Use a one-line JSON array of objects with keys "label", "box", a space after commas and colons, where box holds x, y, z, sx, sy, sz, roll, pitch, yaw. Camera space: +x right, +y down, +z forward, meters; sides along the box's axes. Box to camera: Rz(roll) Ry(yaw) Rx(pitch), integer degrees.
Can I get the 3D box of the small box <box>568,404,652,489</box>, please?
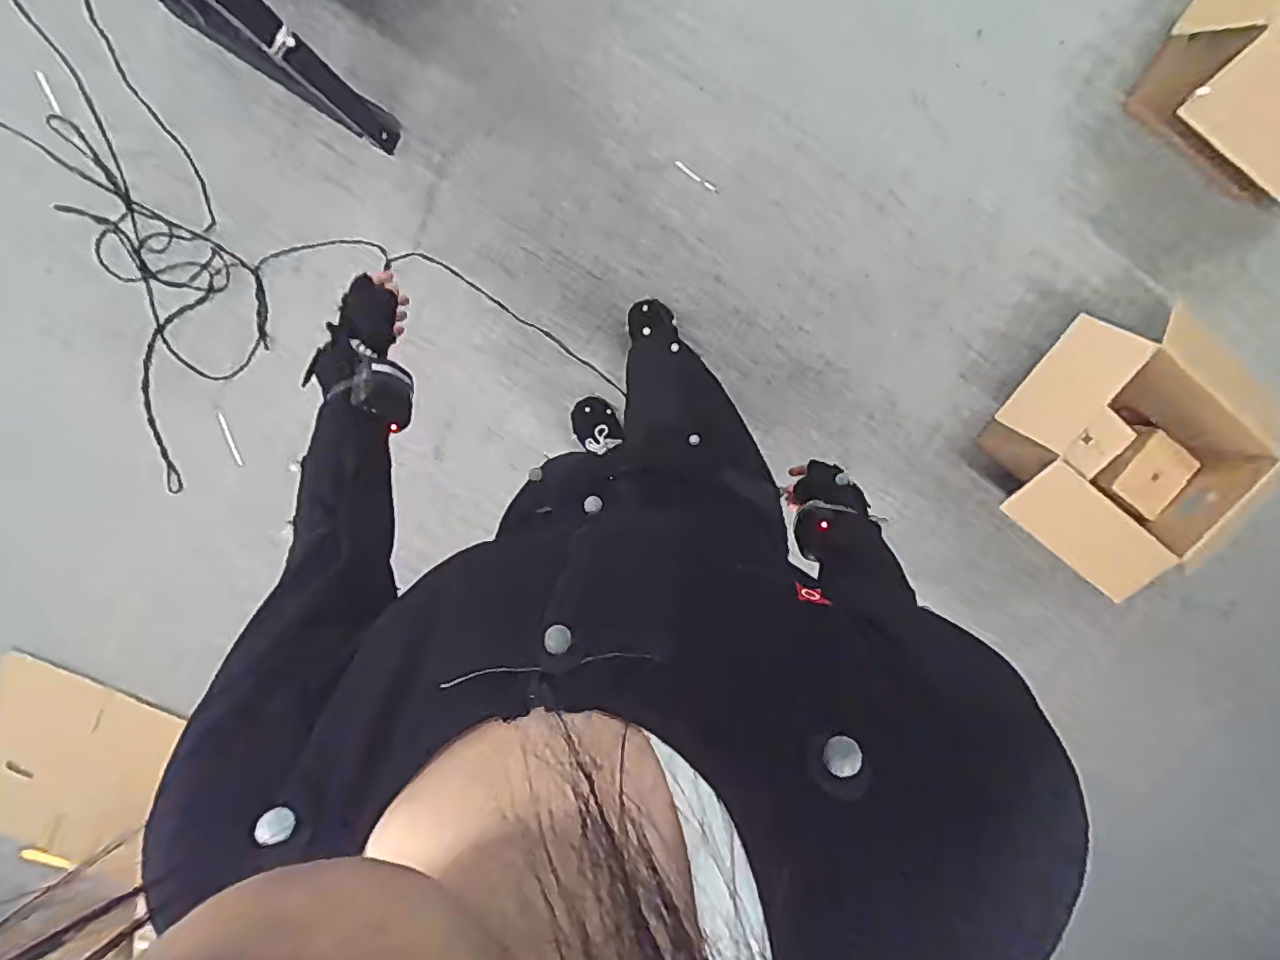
[{"label": "small box", "box": [-0.080, -0.092, 1.413, 0.179, 0.176, 0.168, 13, 113, 13]}]
